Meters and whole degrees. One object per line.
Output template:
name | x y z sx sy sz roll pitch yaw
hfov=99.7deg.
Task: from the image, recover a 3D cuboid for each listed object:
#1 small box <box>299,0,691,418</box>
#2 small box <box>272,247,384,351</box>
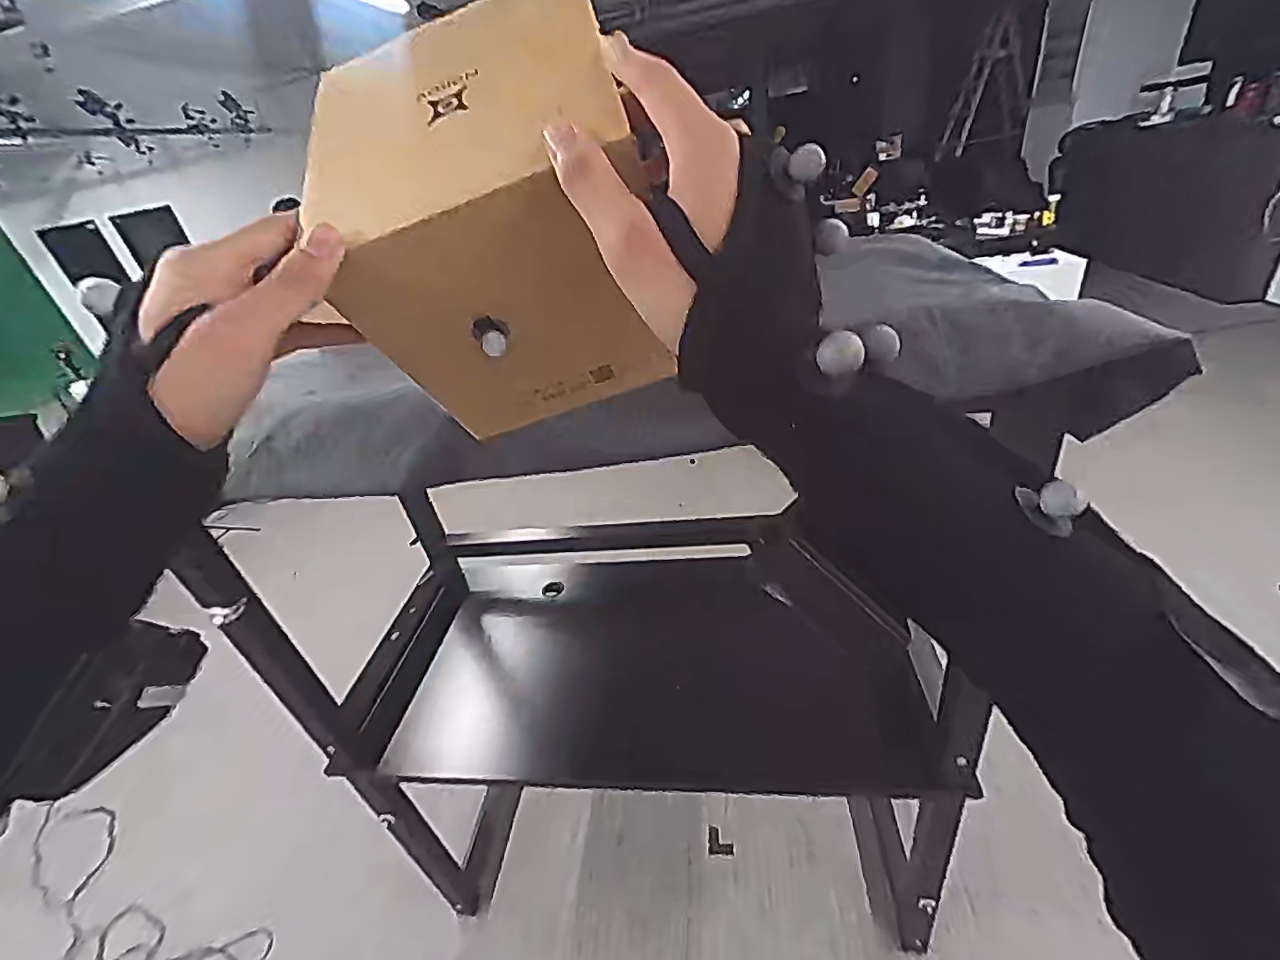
small box | -0.075 -0.159 0.343 0.168 0.176 0.179 -17 62 8
small box | -0.499 -0.346 0.979 0.179 0.176 0.168 -5 32 8
